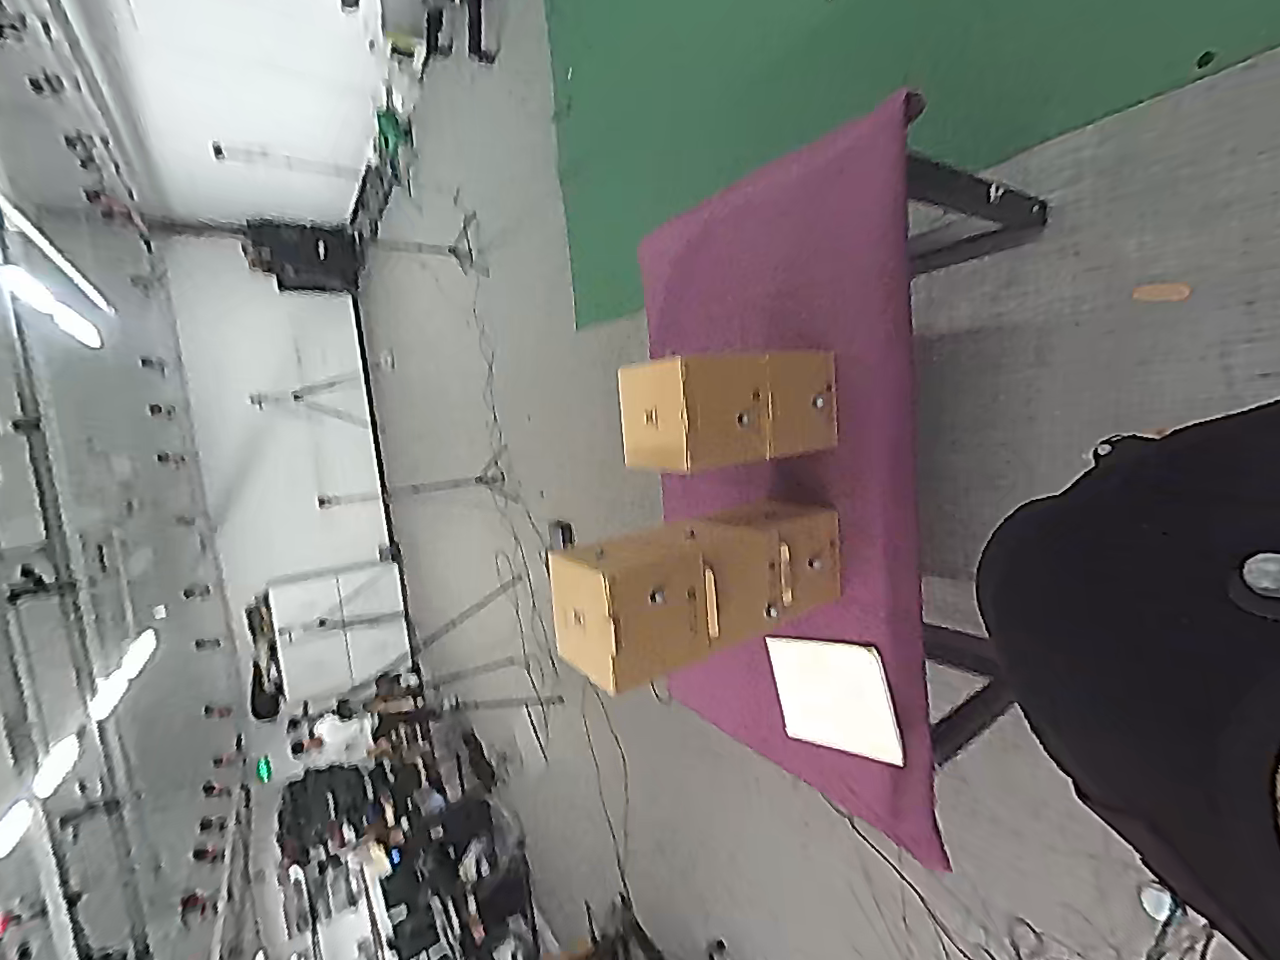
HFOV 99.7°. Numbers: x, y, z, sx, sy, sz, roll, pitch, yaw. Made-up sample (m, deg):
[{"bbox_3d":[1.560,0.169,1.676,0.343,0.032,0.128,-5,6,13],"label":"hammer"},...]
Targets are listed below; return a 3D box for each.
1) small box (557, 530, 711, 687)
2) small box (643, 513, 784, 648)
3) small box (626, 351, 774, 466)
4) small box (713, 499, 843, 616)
[{"bbox_3d":[-0.006,0.177,0.813,0.179,0.176,0.168,7,103,56],"label":"small box"},{"bbox_3d":[0.126,0.154,0.907,0.179,0.176,0.168,6,103,57],"label":"small box"},{"bbox_3d":[0.096,-0.116,0.883,0.179,0.176,0.168,6,103,56],"label":"small box"},{"bbox_3d":[0.259,0.131,1.002,0.179,0.176,0.168,5,102,55],"label":"small box"}]
